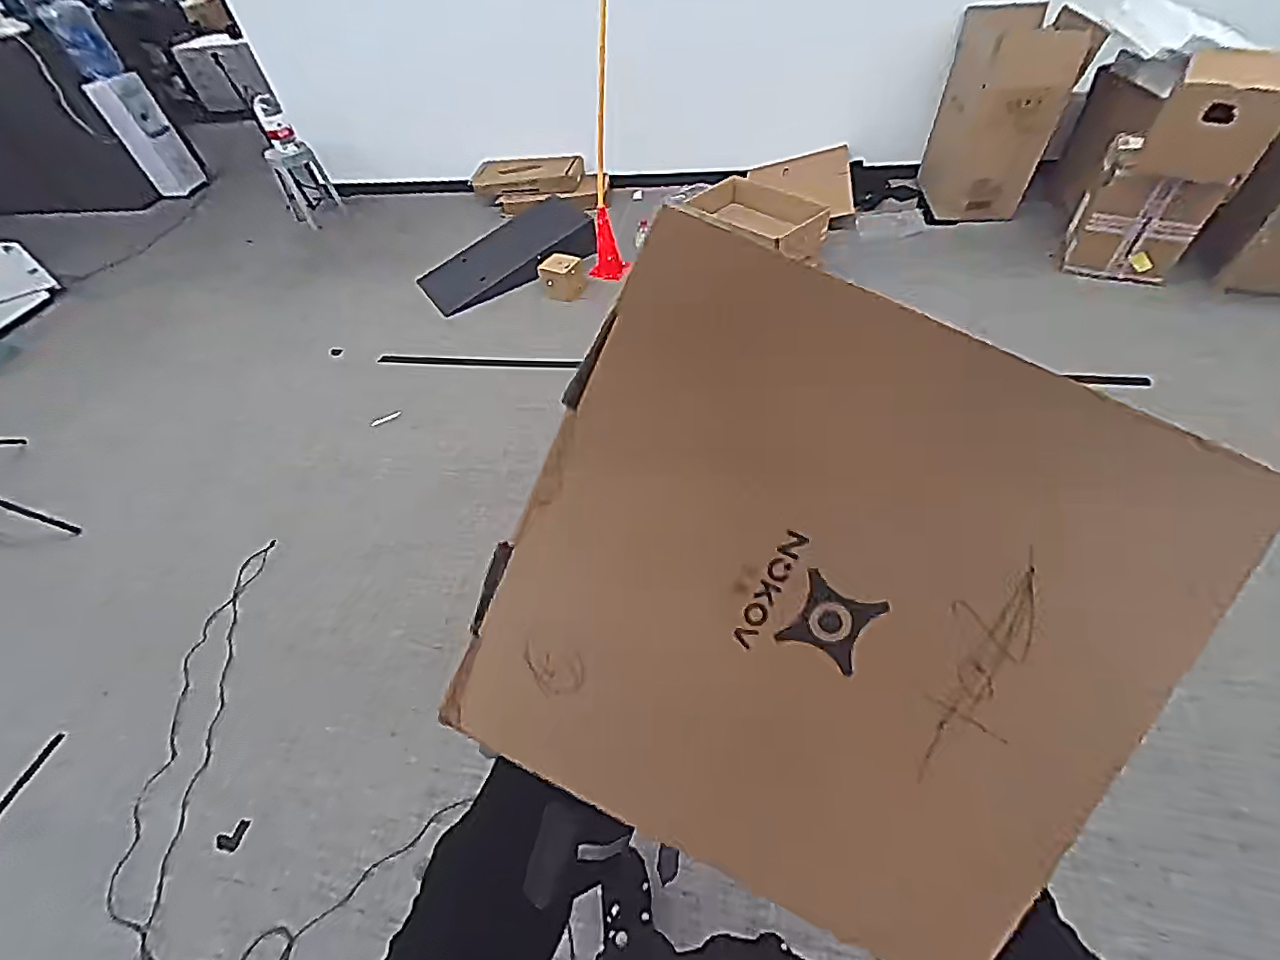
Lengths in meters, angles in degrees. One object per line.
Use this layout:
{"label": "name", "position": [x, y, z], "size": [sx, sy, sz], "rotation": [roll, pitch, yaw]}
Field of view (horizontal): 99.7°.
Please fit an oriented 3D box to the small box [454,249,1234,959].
{"label": "small box", "position": [0.058, 0.033, 0.240], "size": [0.179, 0.176, 0.168], "rotation": [25, 98, 4]}
